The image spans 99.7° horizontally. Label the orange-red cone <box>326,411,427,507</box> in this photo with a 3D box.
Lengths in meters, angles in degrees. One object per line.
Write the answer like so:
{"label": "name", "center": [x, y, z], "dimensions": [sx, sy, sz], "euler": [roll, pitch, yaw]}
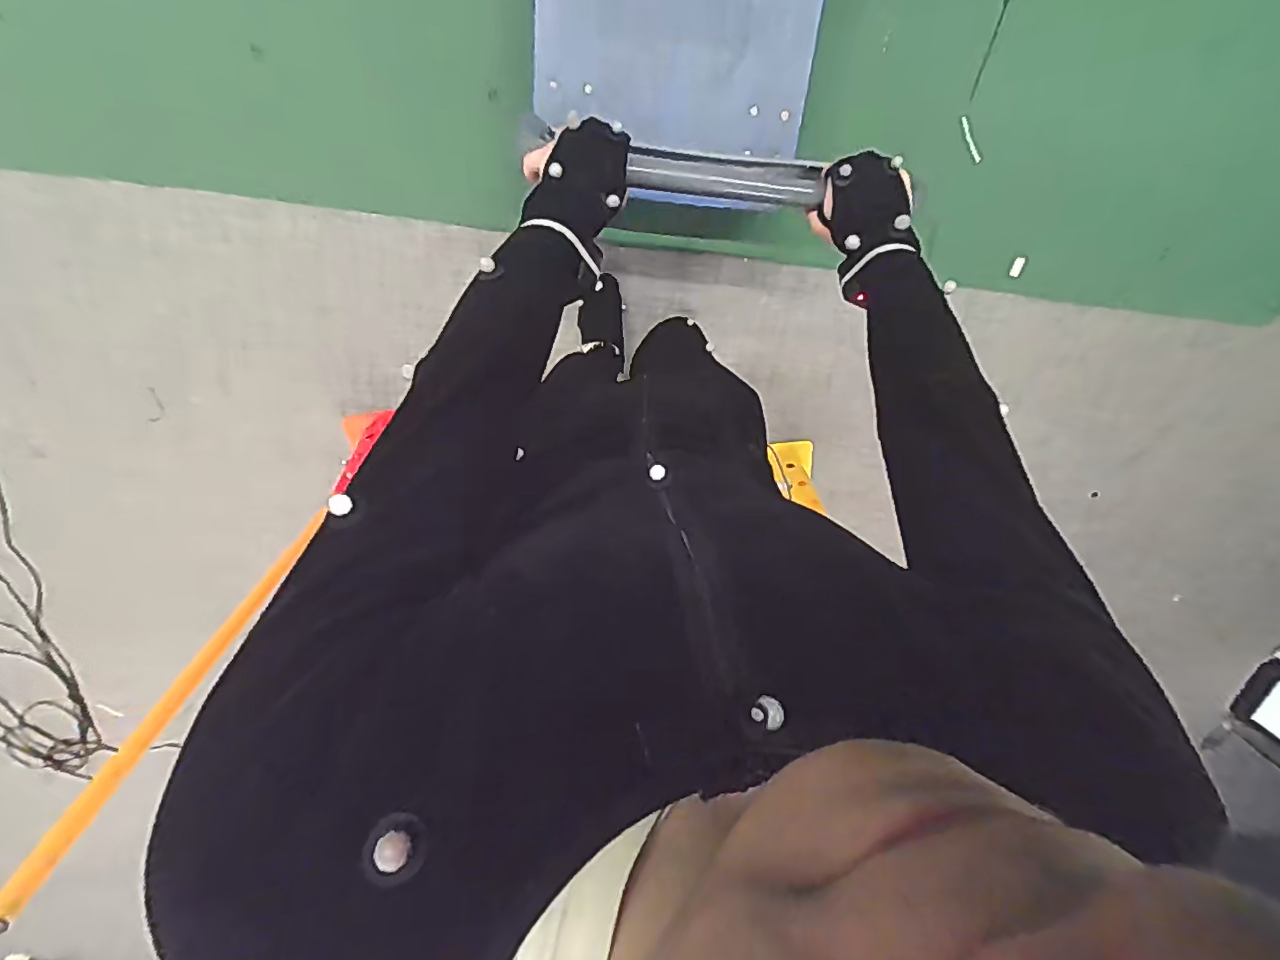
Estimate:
{"label": "orange-red cone", "center": [-0.714, -0.026, 1.393], "dimensions": [0.199, 0.360, 0.198], "euler": [-9, 115, -1]}
